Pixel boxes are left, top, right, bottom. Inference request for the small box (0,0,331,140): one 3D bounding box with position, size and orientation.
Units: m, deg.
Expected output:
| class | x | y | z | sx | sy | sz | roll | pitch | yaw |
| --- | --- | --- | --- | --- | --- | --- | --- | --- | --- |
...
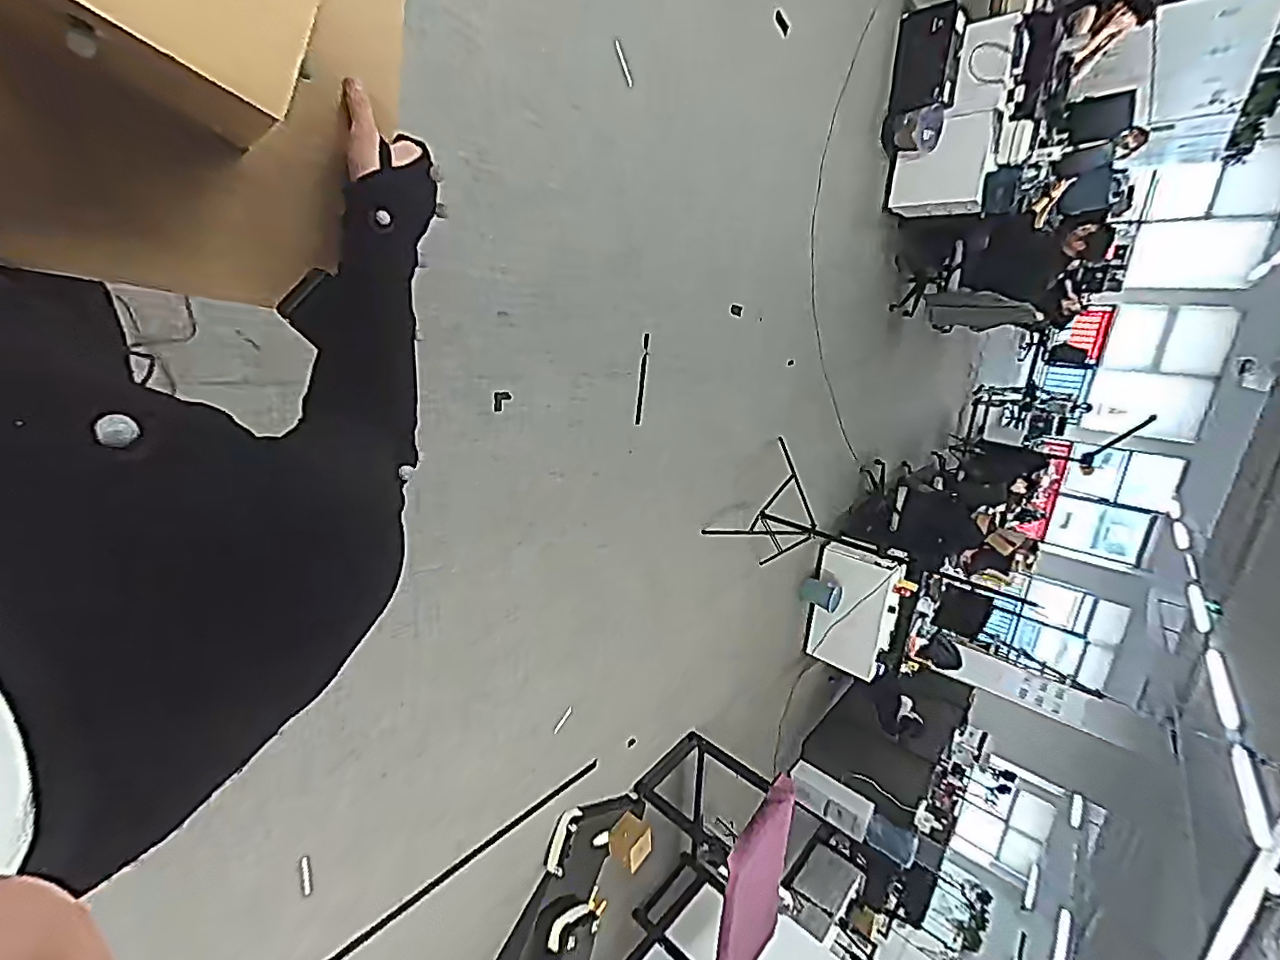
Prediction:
| class | x | y | z | sx | sy | sz | roll | pitch | yaw |
| --- | --- | --- | --- | --- | --- | --- | --- | --- | --- |
| small box | -0.320 | -0.358 | 0.357 | 0.179 | 0.176 | 0.168 | 16 | 97 | -44 |
